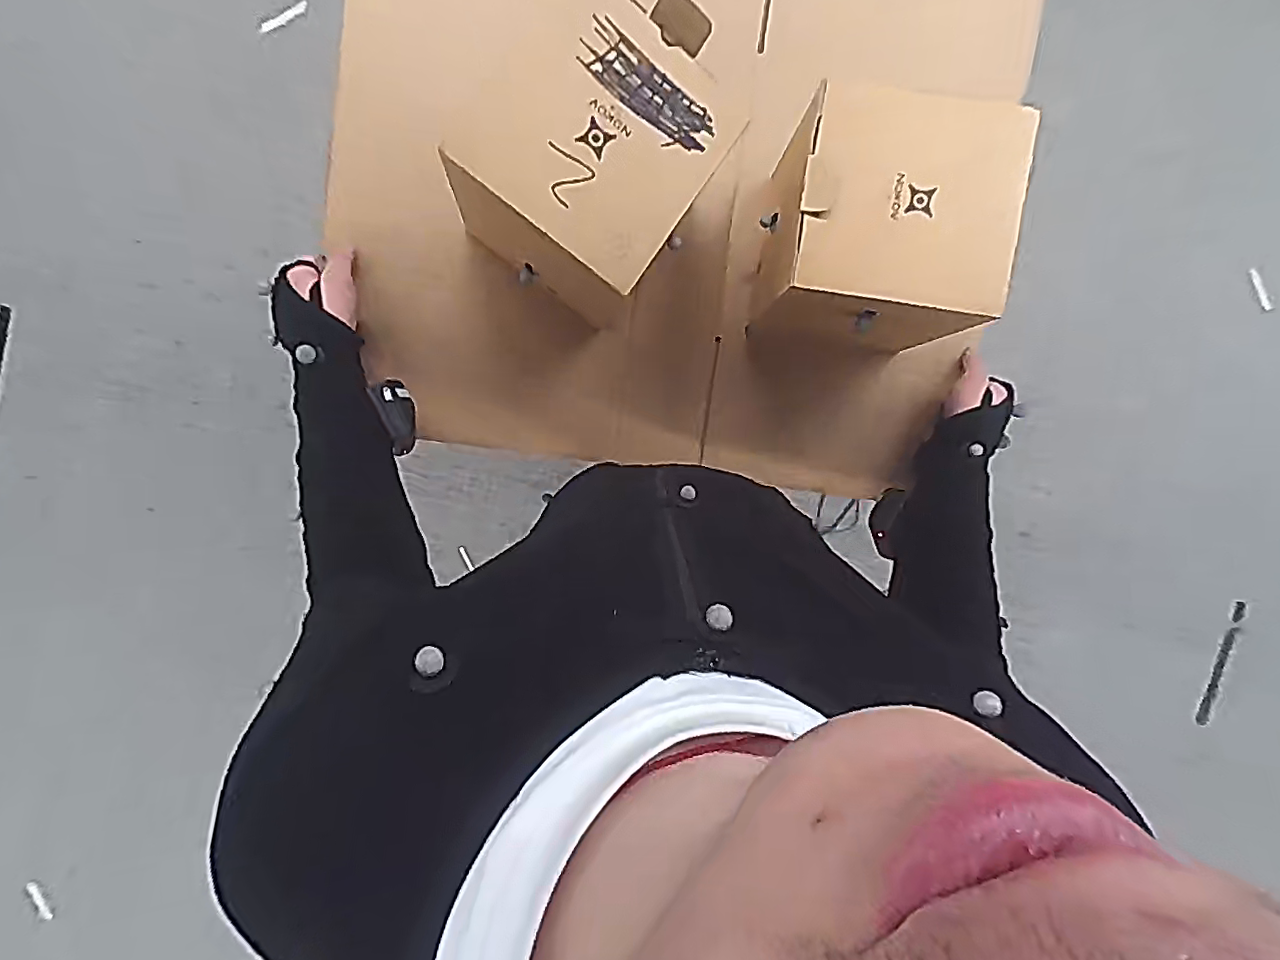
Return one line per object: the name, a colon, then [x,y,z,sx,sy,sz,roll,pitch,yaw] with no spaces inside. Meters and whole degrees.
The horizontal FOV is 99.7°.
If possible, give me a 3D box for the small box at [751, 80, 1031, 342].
small box: [0.221,-0.237,0.524,0.179,0.176,0.168,8,94,-1]
